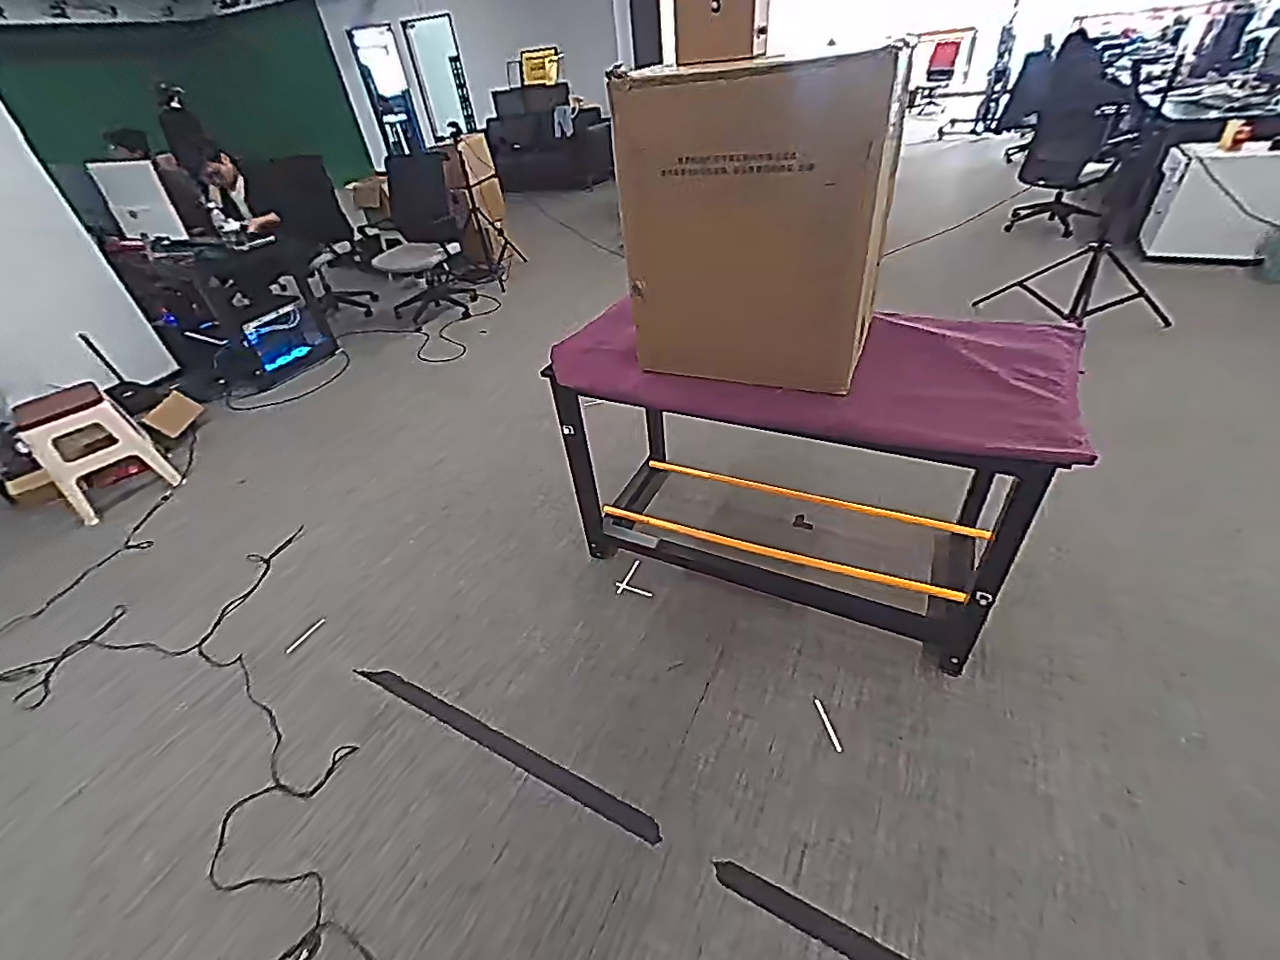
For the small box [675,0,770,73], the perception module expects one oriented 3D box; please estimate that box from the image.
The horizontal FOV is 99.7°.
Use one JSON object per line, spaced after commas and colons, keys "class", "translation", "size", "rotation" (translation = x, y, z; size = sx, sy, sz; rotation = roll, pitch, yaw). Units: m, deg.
{"class": "small box", "translation": [0.173, -0.962, 1.119], "size": [0.168, 0.176, 0.179], "rotation": [10, 42, 18]}
